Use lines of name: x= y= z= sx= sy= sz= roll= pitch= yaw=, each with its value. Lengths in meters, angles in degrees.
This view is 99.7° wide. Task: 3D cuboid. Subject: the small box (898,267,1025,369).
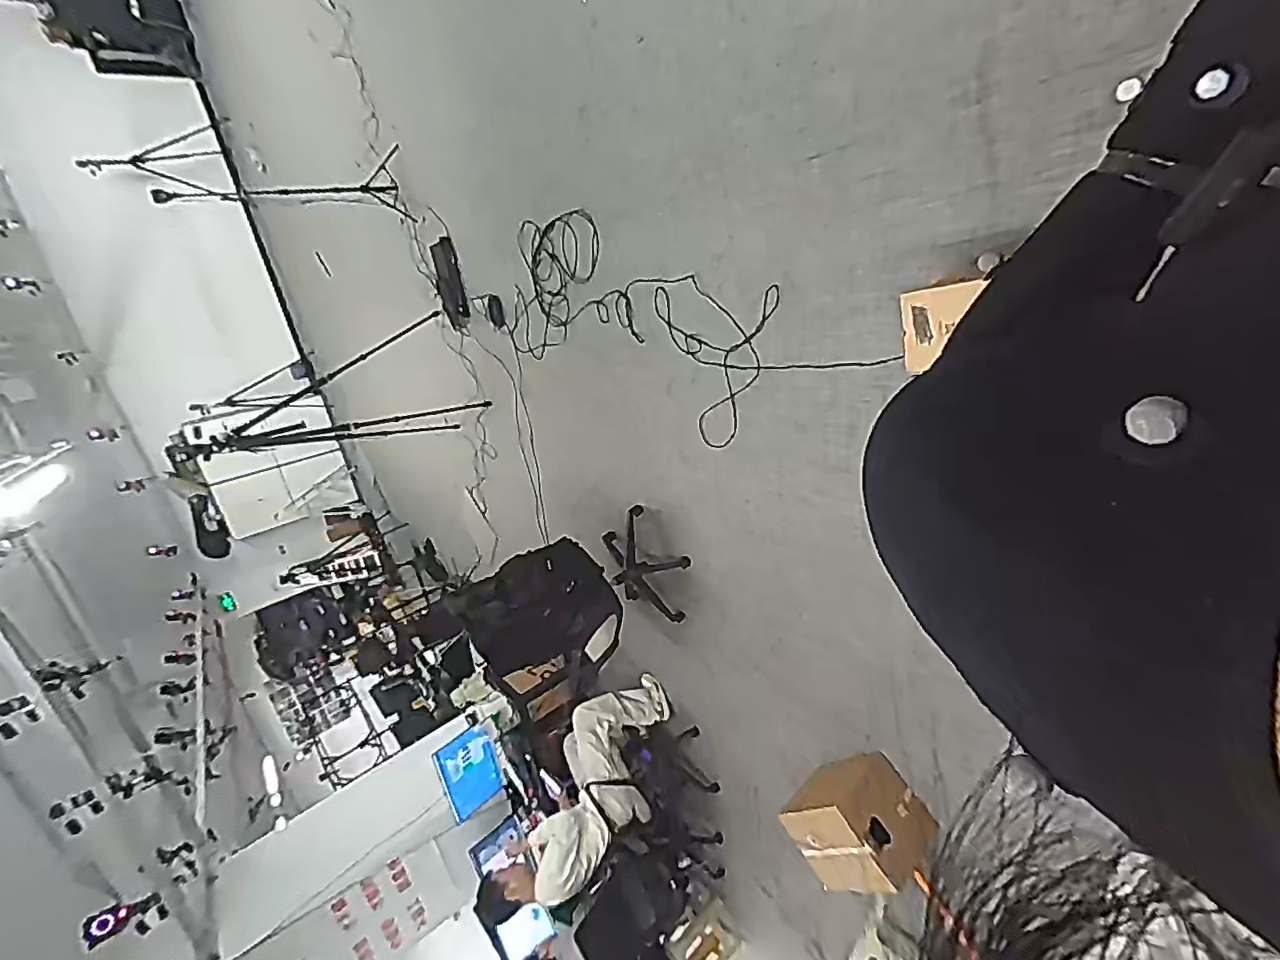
small box: x=0.665 y=-0.332 z=1.118 sx=0.179 sy=0.176 sz=0.168 roll=8 pitch=116 yaw=50
